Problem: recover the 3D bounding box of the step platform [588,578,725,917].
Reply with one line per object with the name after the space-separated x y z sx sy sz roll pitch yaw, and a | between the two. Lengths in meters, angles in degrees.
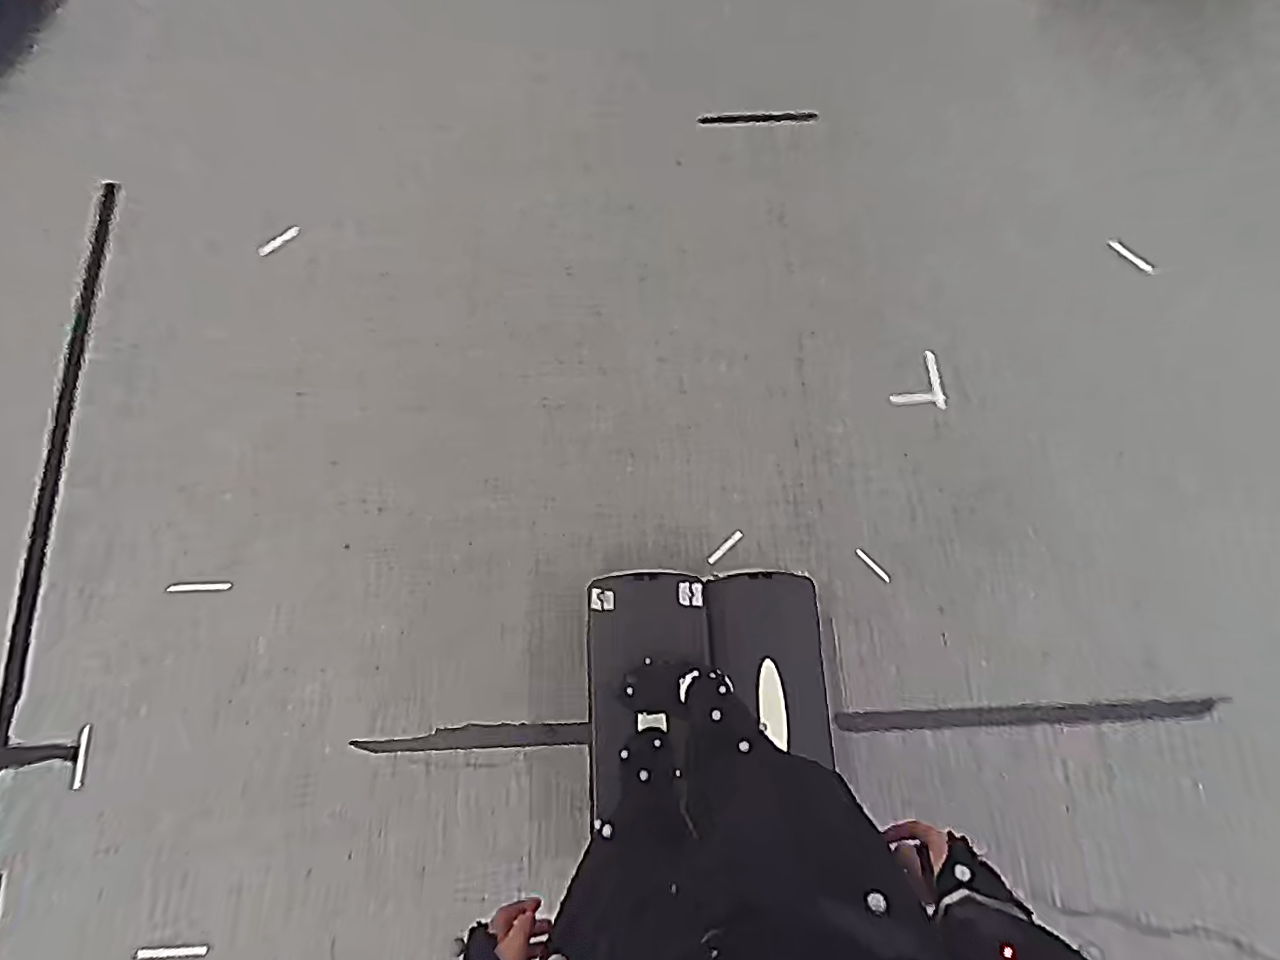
0.039 0.572 1.242 0.286 0.204 0.684 2 74 -1 | step platform
